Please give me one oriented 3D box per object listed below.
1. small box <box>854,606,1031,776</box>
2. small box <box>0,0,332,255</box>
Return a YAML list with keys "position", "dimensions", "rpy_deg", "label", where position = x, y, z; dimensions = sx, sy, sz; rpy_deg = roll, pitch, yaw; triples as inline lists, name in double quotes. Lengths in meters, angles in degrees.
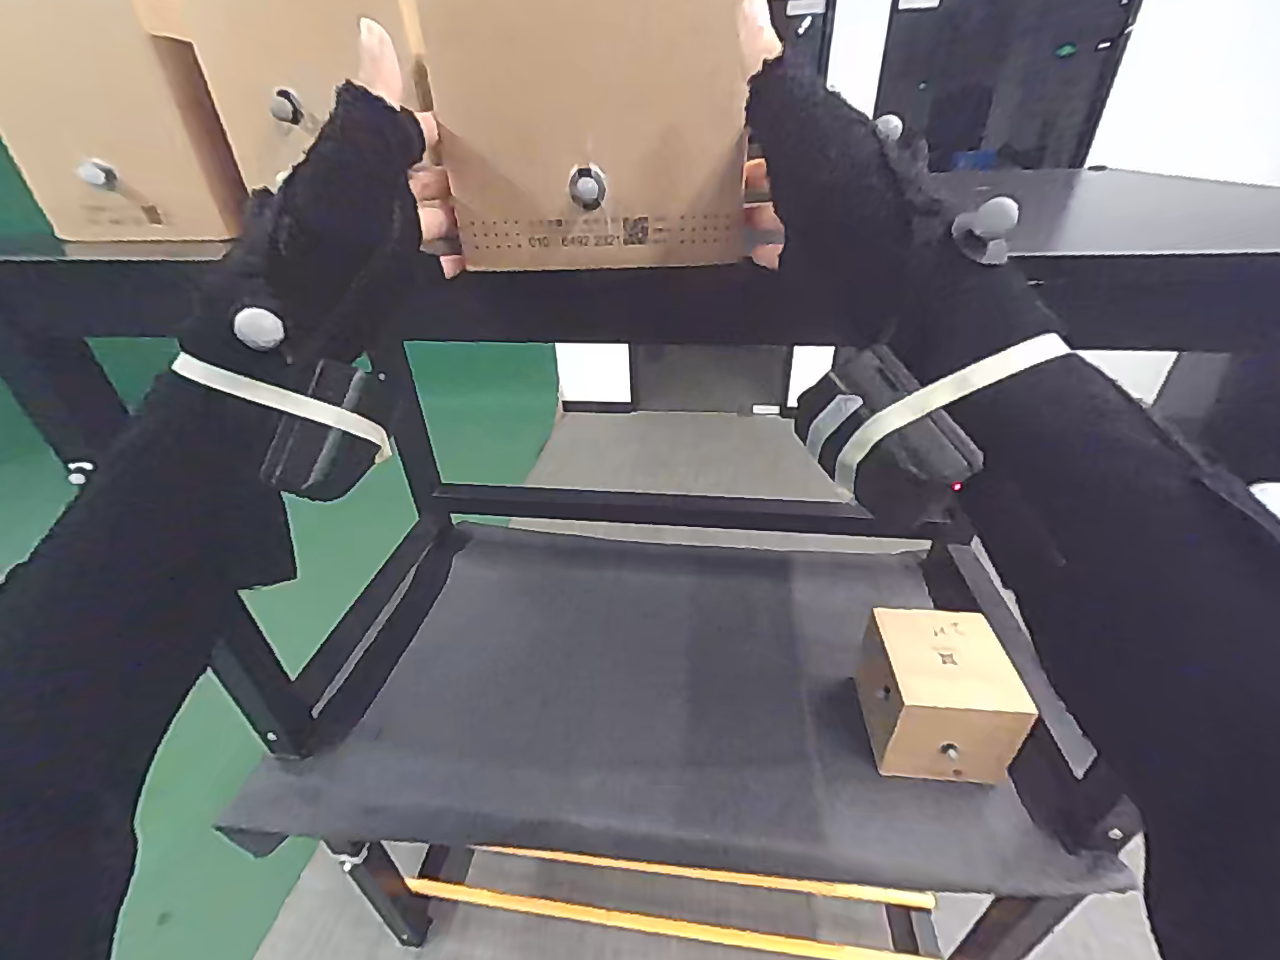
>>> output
- position: [0.435, 0.315, 0.813]
  dimensions: [0.168, 0.176, 0.179]
  rpy_deg: [2, 32, 6]
  label: "small box"
- position: [-0.421, -0.315, 0.500]
  dimensions: [0.168, 0.176, 0.179]
  rpy_deg: [2, 34, 6]
  label: "small box"
